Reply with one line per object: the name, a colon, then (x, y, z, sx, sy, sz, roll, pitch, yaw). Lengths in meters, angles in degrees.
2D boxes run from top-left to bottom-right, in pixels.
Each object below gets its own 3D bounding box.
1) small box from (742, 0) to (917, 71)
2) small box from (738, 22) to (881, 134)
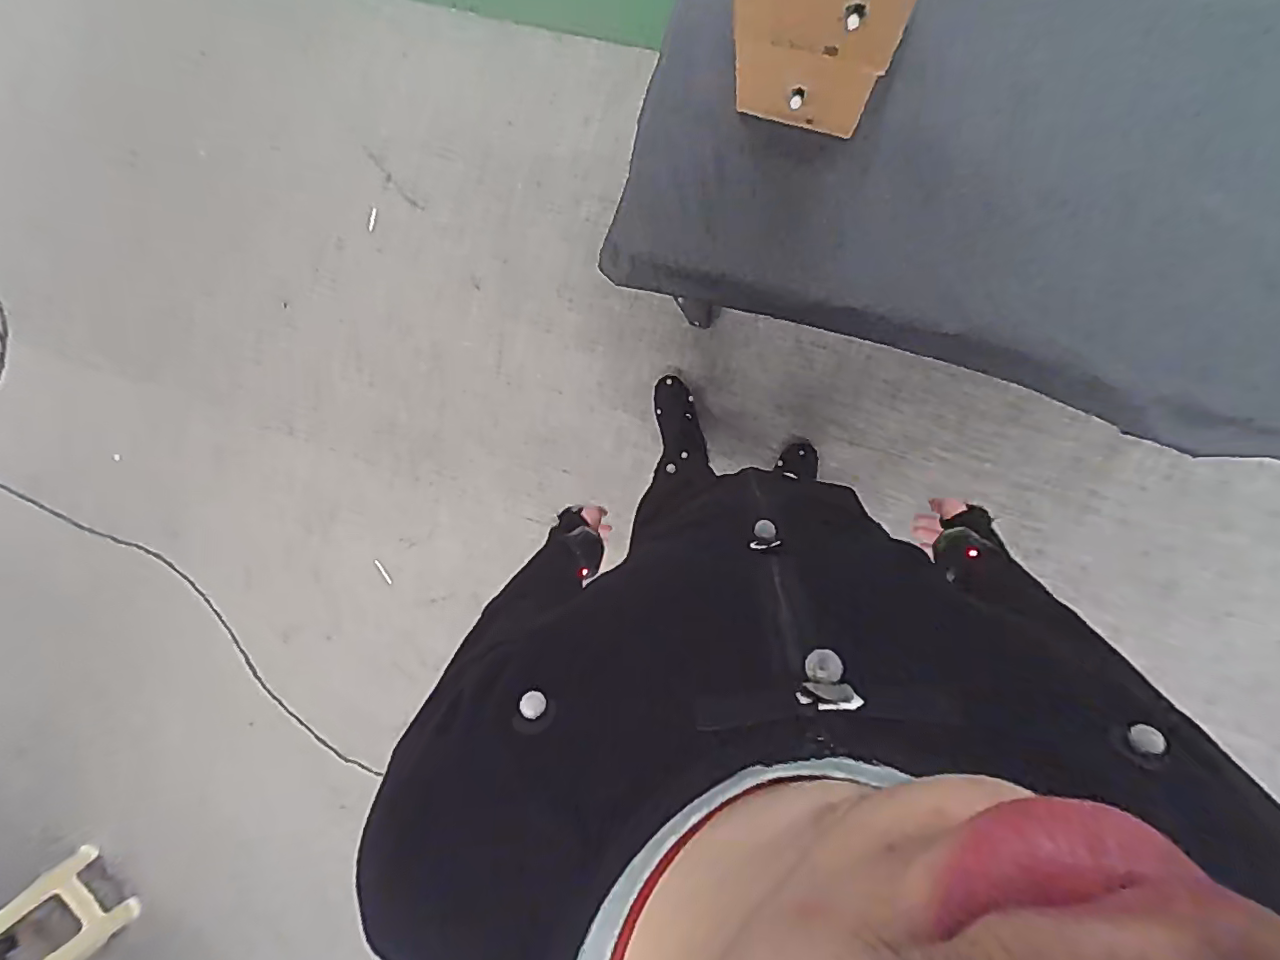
small box: (0.195, -0.526, 0.497, 0.168, 0.176, 0.179, 17, 99, 7)
small box: (0.226, -0.560, 0.653, 0.168, 0.176, 0.179, 19, 101, 7)
